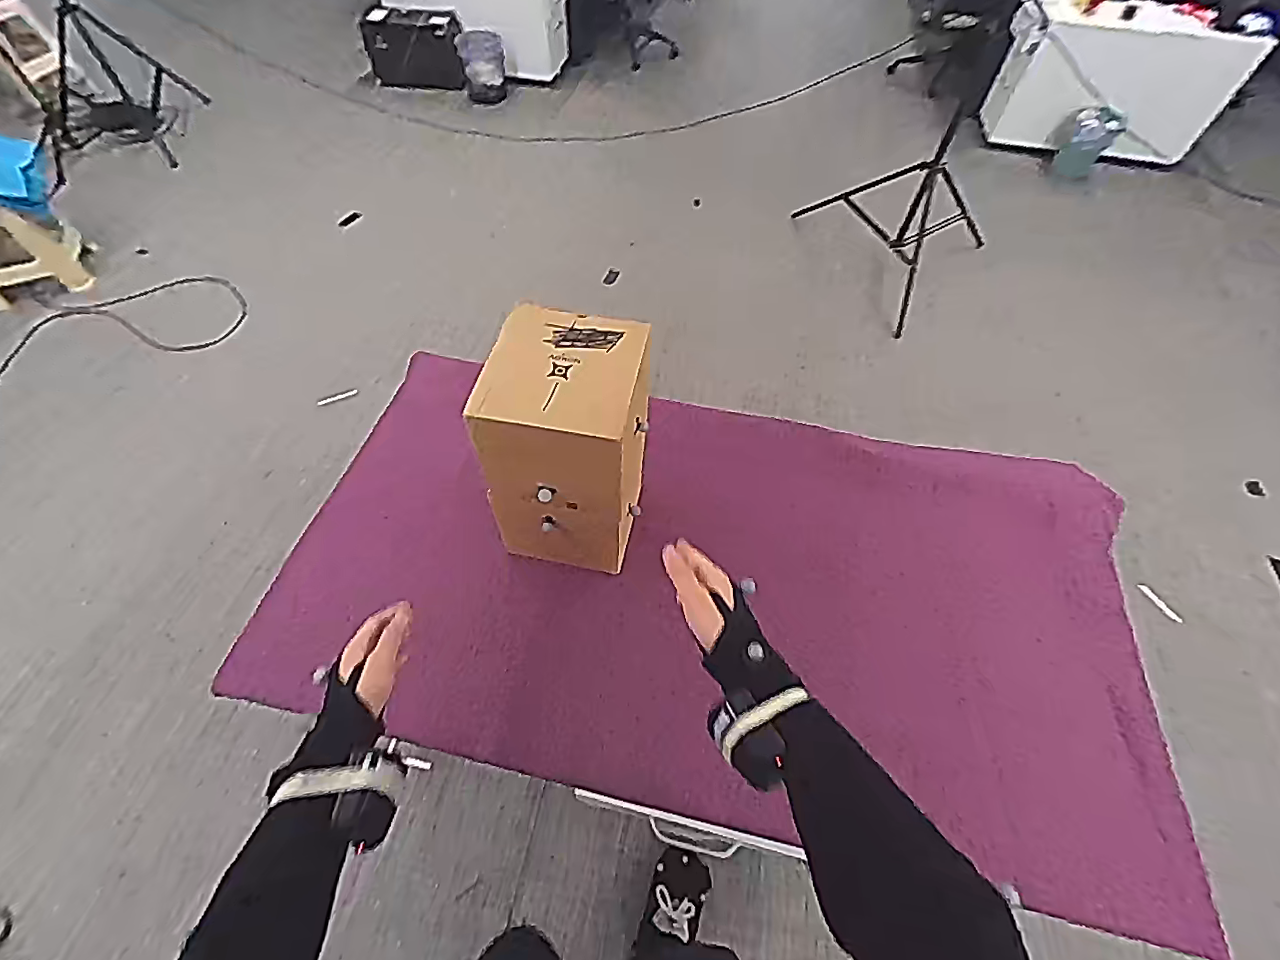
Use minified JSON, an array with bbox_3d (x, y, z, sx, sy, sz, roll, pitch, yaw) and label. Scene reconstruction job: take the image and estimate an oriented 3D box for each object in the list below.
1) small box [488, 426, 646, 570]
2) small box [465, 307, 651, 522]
[{"bbox_3d":[-0.095,0.015,0.787,0.179,0.176,0.168,11,57,6],"label":"small box"},{"bbox_3d":[-0.085,-0.074,0.649,0.168,0.176,0.179,10,58,5],"label":"small box"}]
